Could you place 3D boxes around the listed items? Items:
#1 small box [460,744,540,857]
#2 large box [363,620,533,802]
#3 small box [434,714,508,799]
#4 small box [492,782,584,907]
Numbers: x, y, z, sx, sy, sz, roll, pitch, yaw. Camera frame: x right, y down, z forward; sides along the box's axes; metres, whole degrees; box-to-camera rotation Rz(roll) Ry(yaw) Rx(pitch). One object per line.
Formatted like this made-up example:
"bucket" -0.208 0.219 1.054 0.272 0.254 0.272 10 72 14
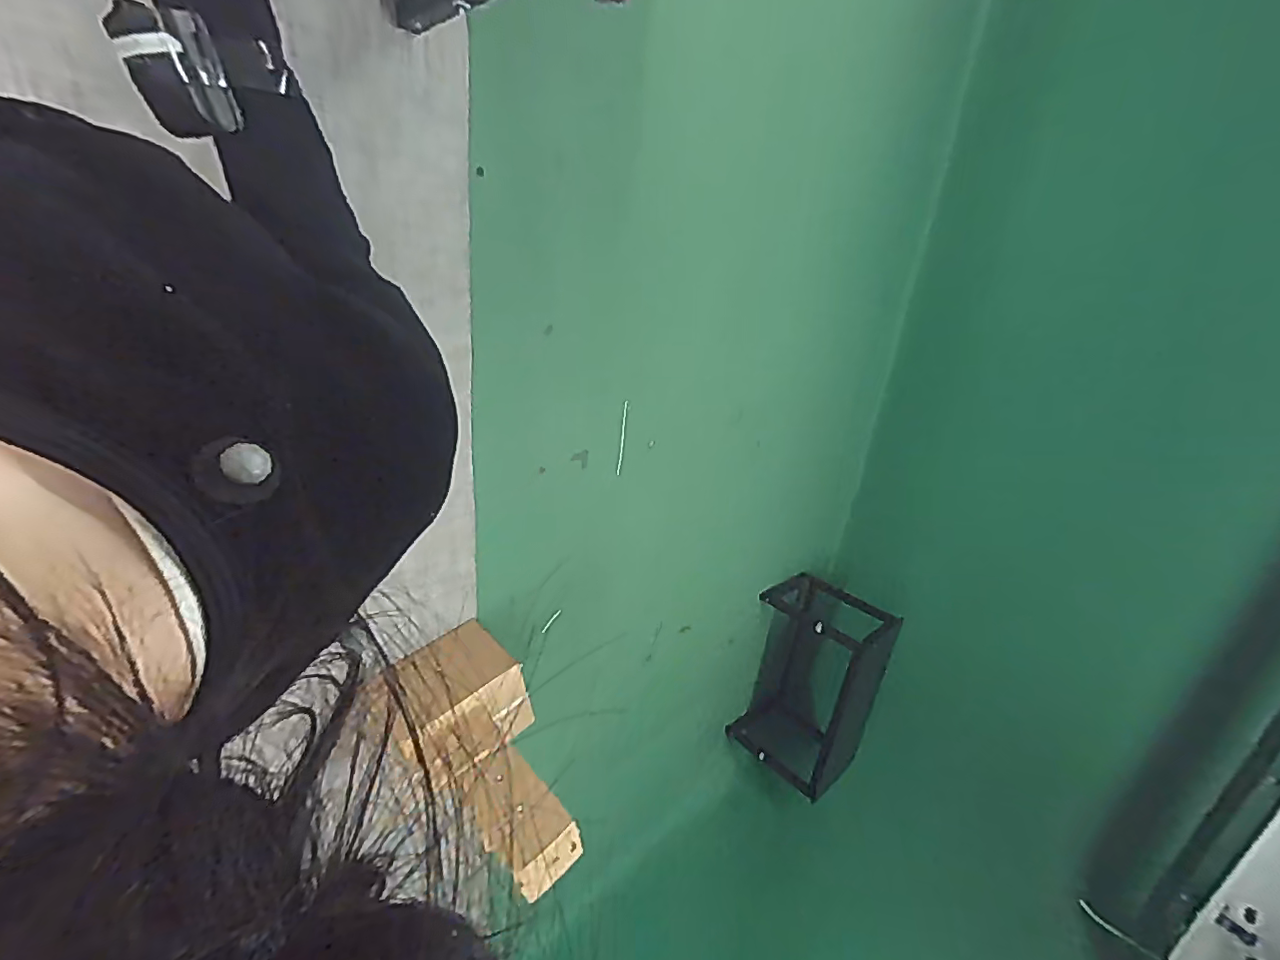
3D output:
"small box" -0.390 0.903 1.535 0.179 0.176 0.168 -30 128 -34
"large box" -0.637 0.760 1.830 0.408 0.320 0.320 -31 130 -35
"small box" -0.500 0.846 1.642 0.168 0.176 0.179 -29 128 -34
"small box" -0.274 0.957 1.431 0.179 0.176 0.168 -28 128 -33
